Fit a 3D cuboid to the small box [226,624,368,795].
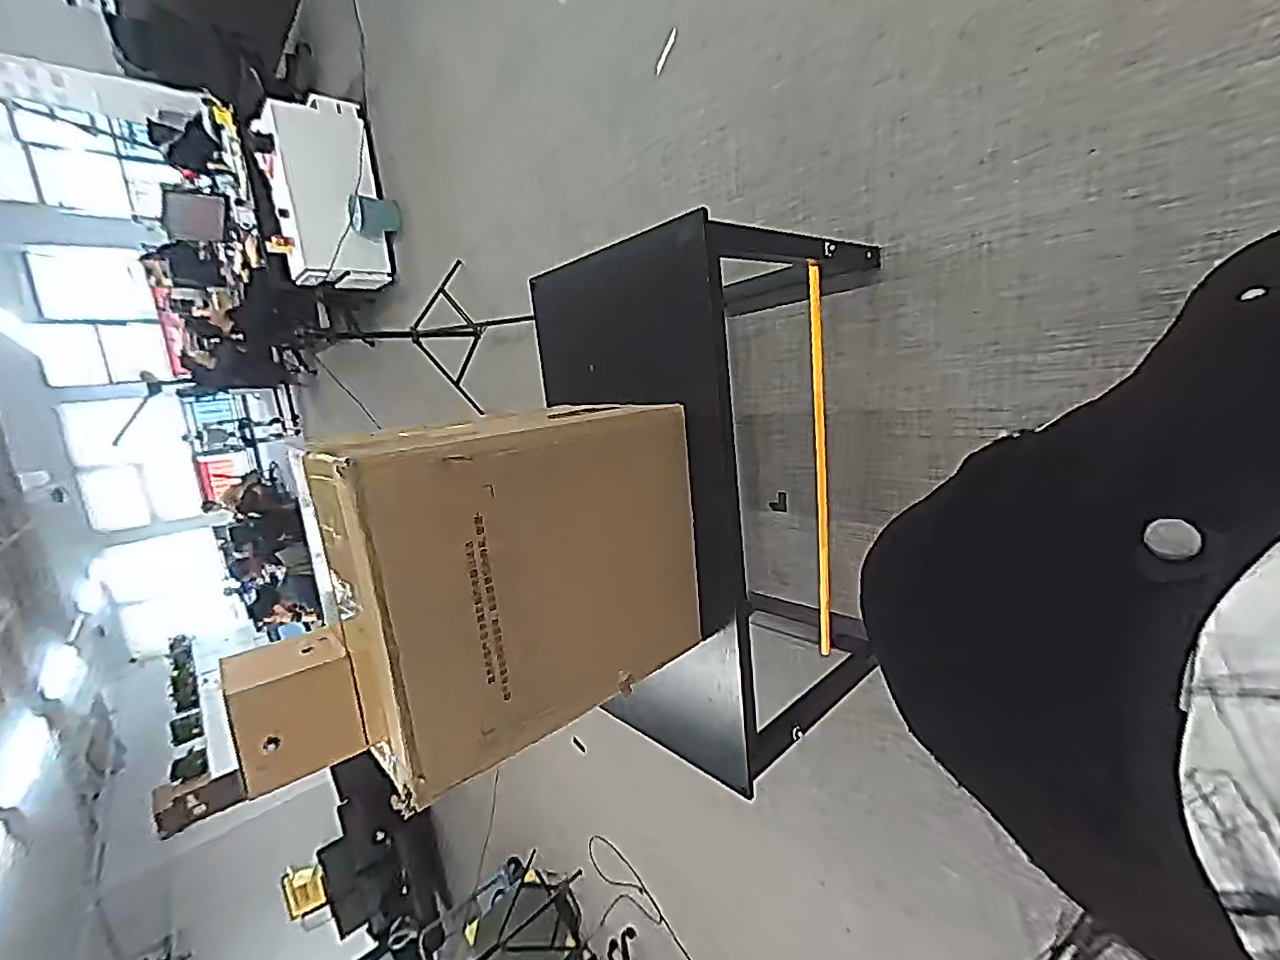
[{"bbox_3d":[-0.571,0.369,0.905,0.168,0.176,0.179,8,106,50],"label":"small box"}]
